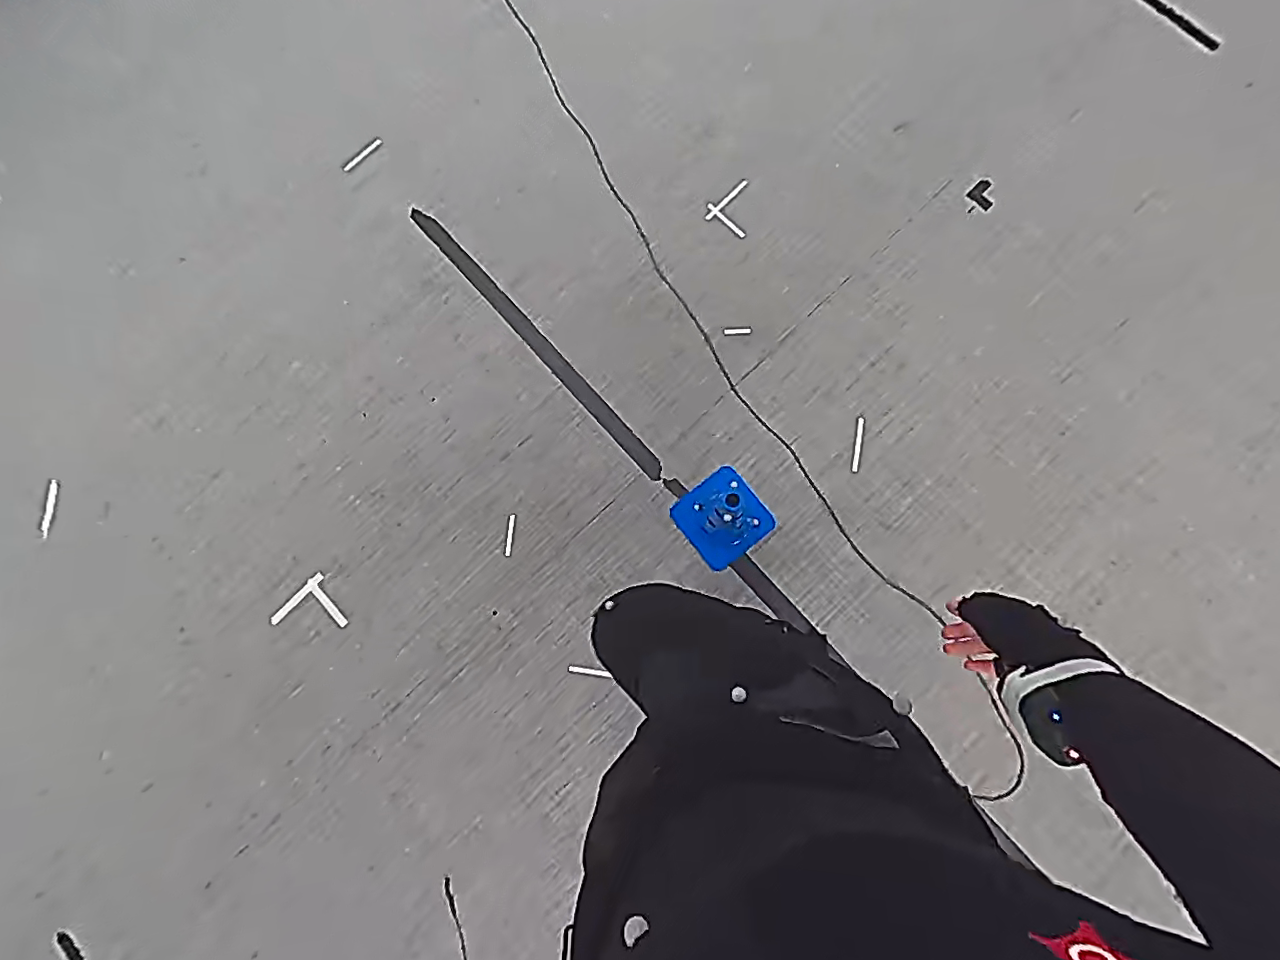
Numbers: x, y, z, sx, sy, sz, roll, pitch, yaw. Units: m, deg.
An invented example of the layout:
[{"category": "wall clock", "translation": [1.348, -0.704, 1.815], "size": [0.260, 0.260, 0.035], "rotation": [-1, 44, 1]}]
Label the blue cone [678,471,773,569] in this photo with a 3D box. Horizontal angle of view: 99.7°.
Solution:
[{"category": "blue cone", "translation": [0.192, 0.064, 1.152], "size": [0.193, 0.380, 0.192], "rotation": [-39, 79, -3]}]
